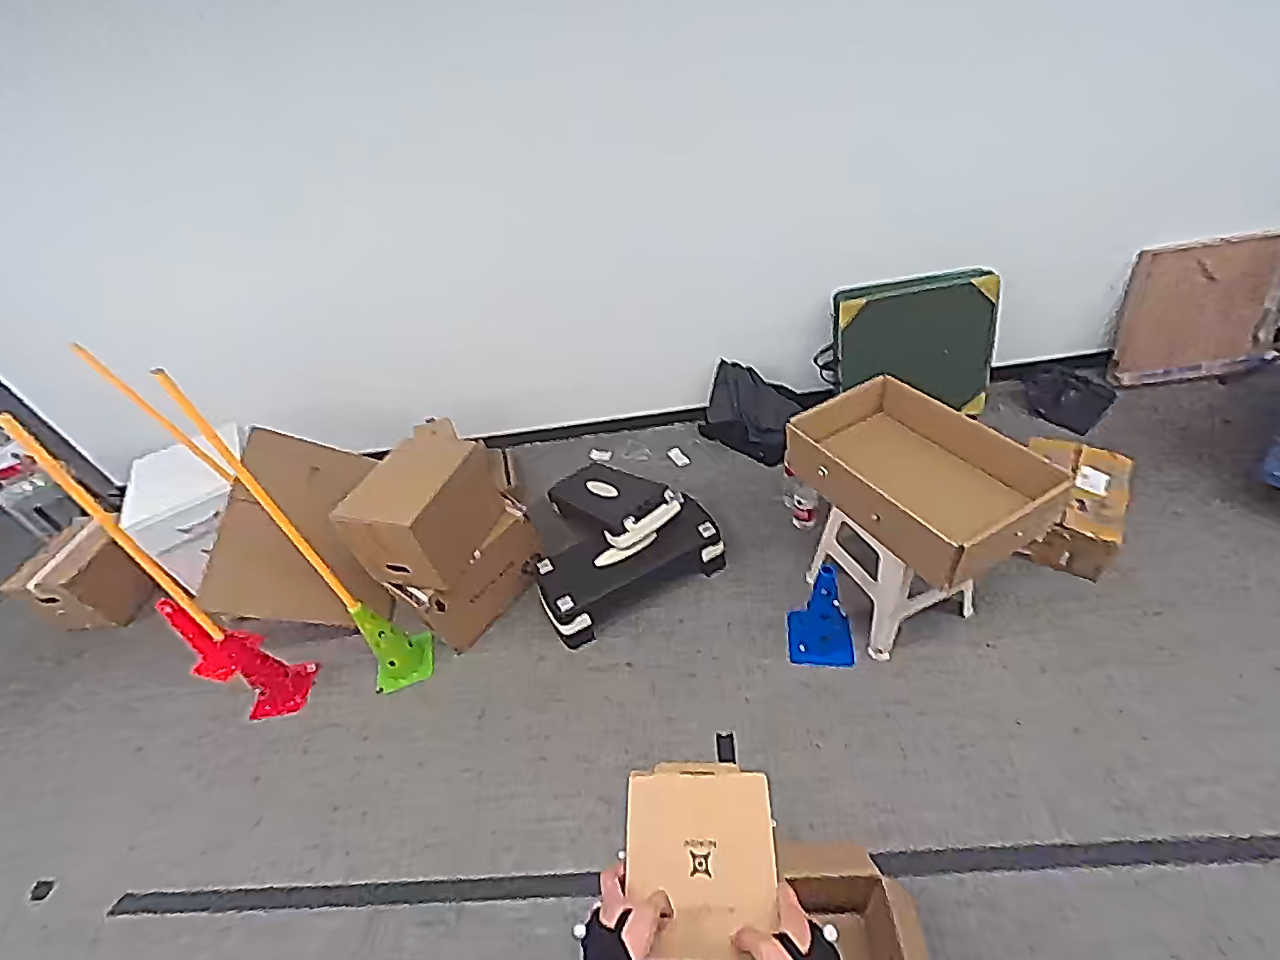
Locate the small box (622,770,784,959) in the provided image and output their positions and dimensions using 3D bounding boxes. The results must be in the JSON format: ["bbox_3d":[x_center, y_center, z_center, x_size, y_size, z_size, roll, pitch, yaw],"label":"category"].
[{"bbox_3d":[0.071,0.468,0.653,0.168,0.176,0.179,-1,51,5],"label":"small box"}]
